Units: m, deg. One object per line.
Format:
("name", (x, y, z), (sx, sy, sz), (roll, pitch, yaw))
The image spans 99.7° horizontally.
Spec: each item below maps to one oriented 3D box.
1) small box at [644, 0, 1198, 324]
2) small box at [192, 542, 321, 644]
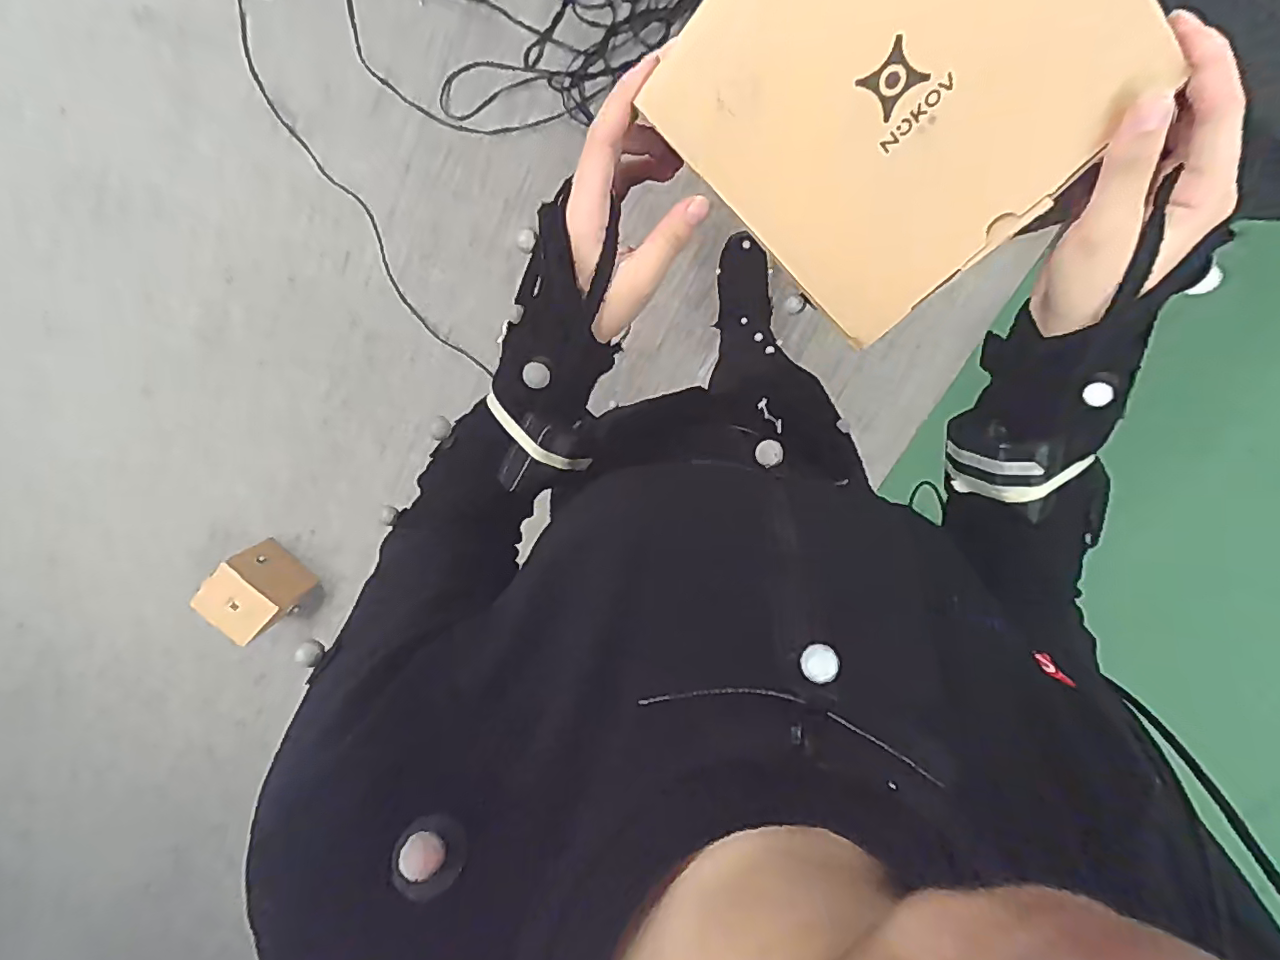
("small box", (0.124, -0.224, 0.305), (0.179, 0.176, 0.168), (38, 119, -17))
("small box", (-0.987, 0.282, 1.407), (0.179, 0.176, 0.168), (44, 103, -9))
